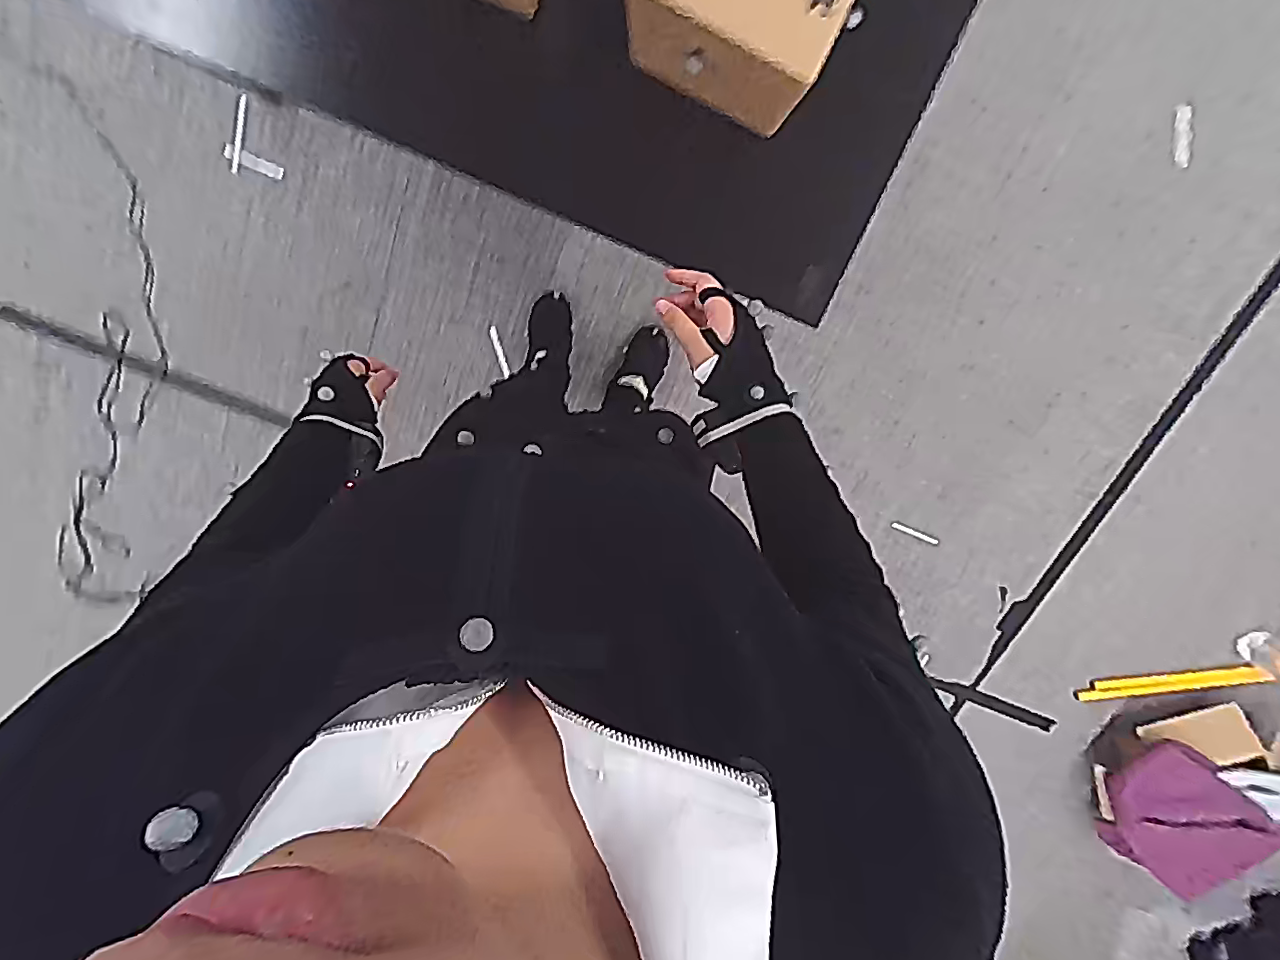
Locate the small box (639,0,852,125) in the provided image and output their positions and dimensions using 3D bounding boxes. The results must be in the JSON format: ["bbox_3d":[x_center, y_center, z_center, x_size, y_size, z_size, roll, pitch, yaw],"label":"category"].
[{"bbox_3d":[0.105,-0.466,0.496,0.179,0.176,0.168,25,108,-7],"label":"small box"}]
